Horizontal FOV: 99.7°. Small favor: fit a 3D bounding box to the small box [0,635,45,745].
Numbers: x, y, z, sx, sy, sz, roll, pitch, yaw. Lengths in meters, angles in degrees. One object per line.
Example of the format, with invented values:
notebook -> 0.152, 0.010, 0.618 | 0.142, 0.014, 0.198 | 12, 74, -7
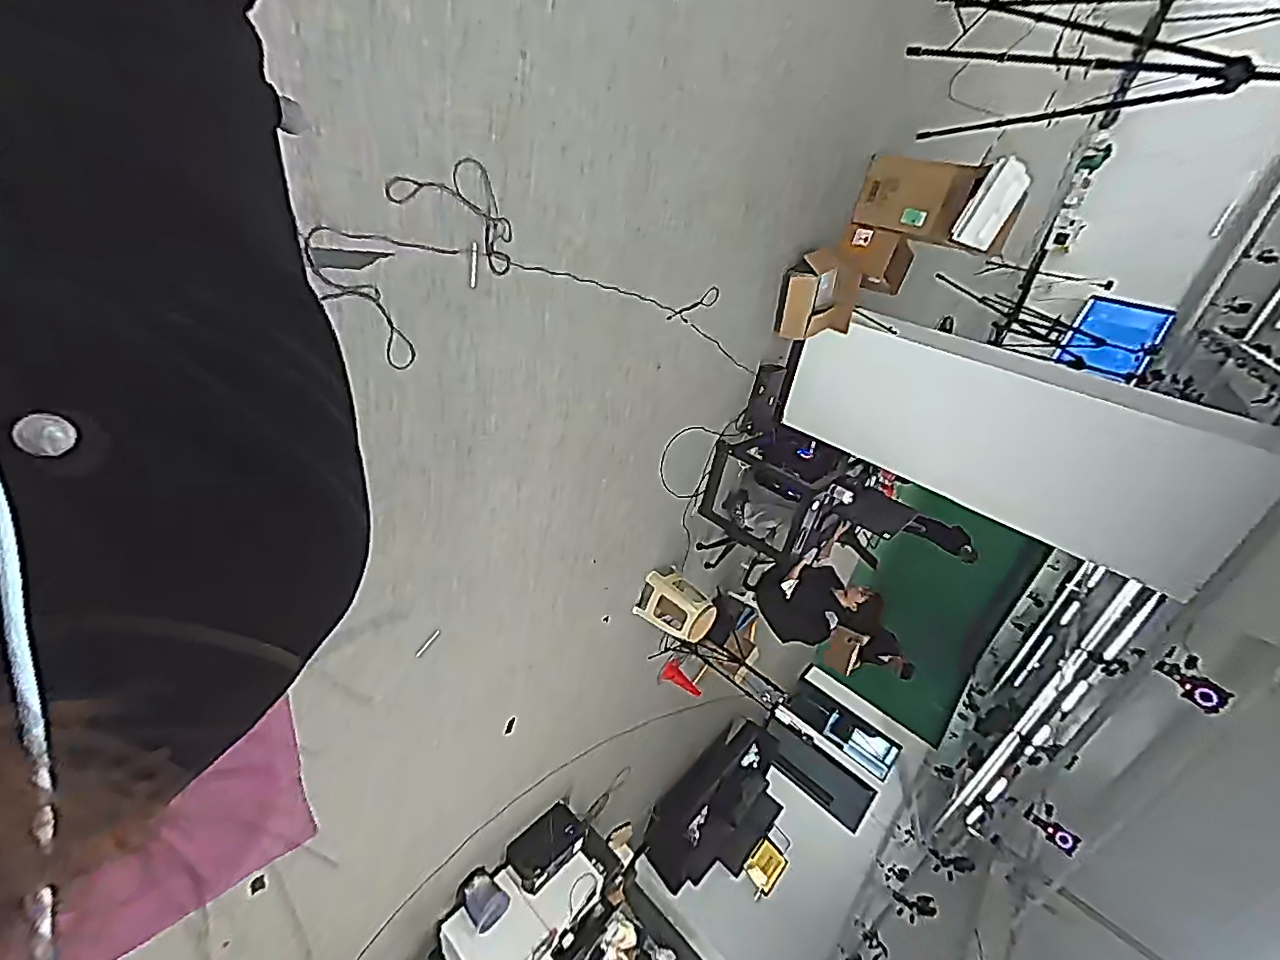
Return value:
small box -> -1.420, 0.462, 1.140 | 0.179, 0.176, 0.168 | -21, 133, -42
